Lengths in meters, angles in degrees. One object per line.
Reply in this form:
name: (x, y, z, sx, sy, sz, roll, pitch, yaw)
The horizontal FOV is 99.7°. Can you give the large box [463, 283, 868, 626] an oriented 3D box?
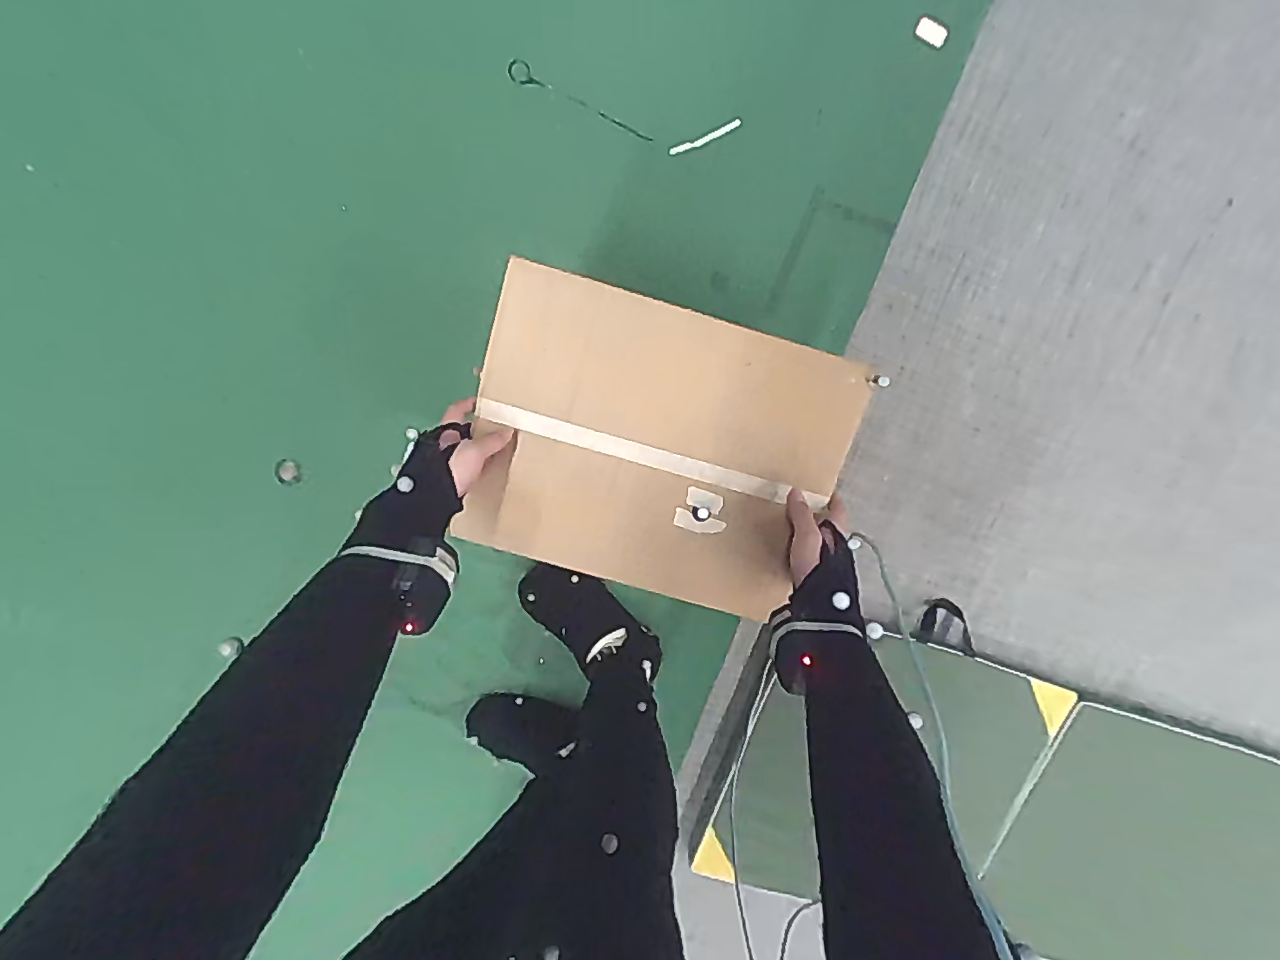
large box: (0.020, -0.045, 0.758, 0.408, 0.320, 0.320, 16, 102, -4)
